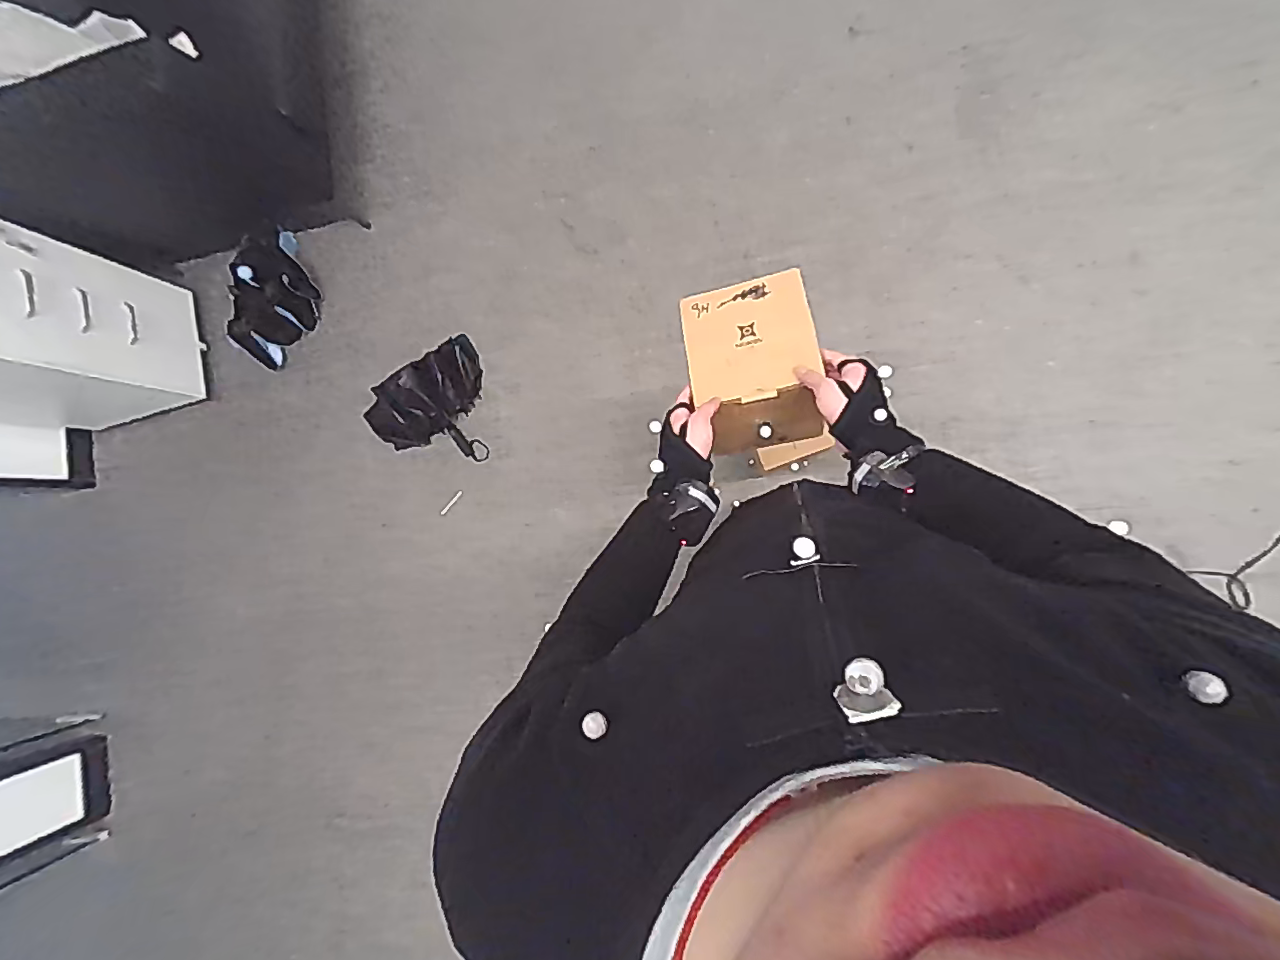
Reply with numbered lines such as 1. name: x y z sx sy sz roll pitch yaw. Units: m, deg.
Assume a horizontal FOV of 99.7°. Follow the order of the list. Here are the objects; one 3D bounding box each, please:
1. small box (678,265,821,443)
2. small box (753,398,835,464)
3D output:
1. small box: 0.159 -0.164 0.770 0.168 0.176 0.179 -10 69 15
2. small box: 0.344 -0.145 1.288 0.168 0.176 0.179 -20 86 12
